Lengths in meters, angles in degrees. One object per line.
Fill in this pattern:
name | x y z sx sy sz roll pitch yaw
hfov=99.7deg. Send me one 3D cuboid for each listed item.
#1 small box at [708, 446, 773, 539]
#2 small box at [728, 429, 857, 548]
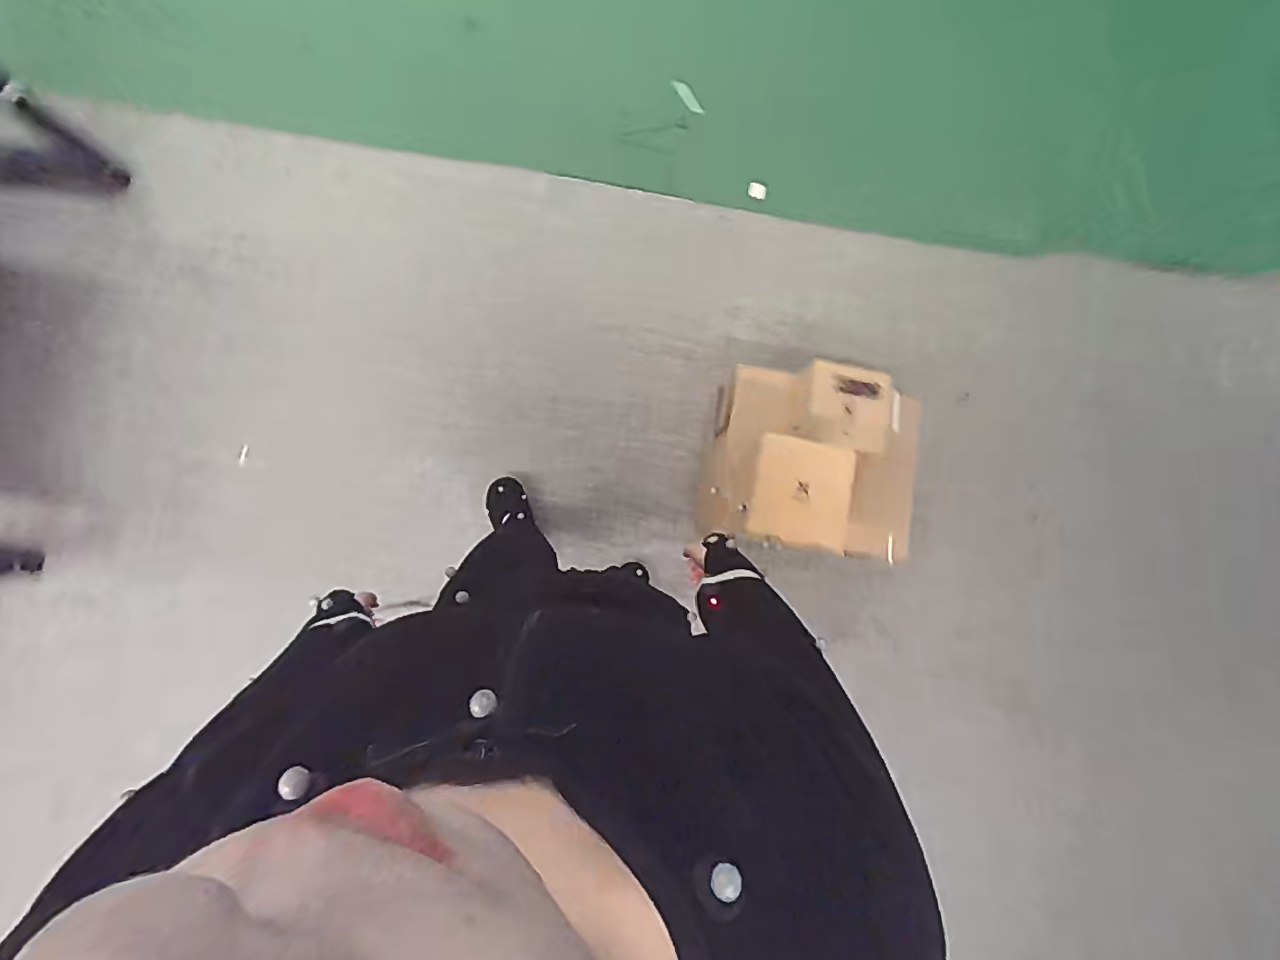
small box | 0.258 0.034 1.155 0.179 0.176 0.168 11 83 -2
small box | 0.270 0.020 0.993 0.168 0.176 0.179 12 85 -3
